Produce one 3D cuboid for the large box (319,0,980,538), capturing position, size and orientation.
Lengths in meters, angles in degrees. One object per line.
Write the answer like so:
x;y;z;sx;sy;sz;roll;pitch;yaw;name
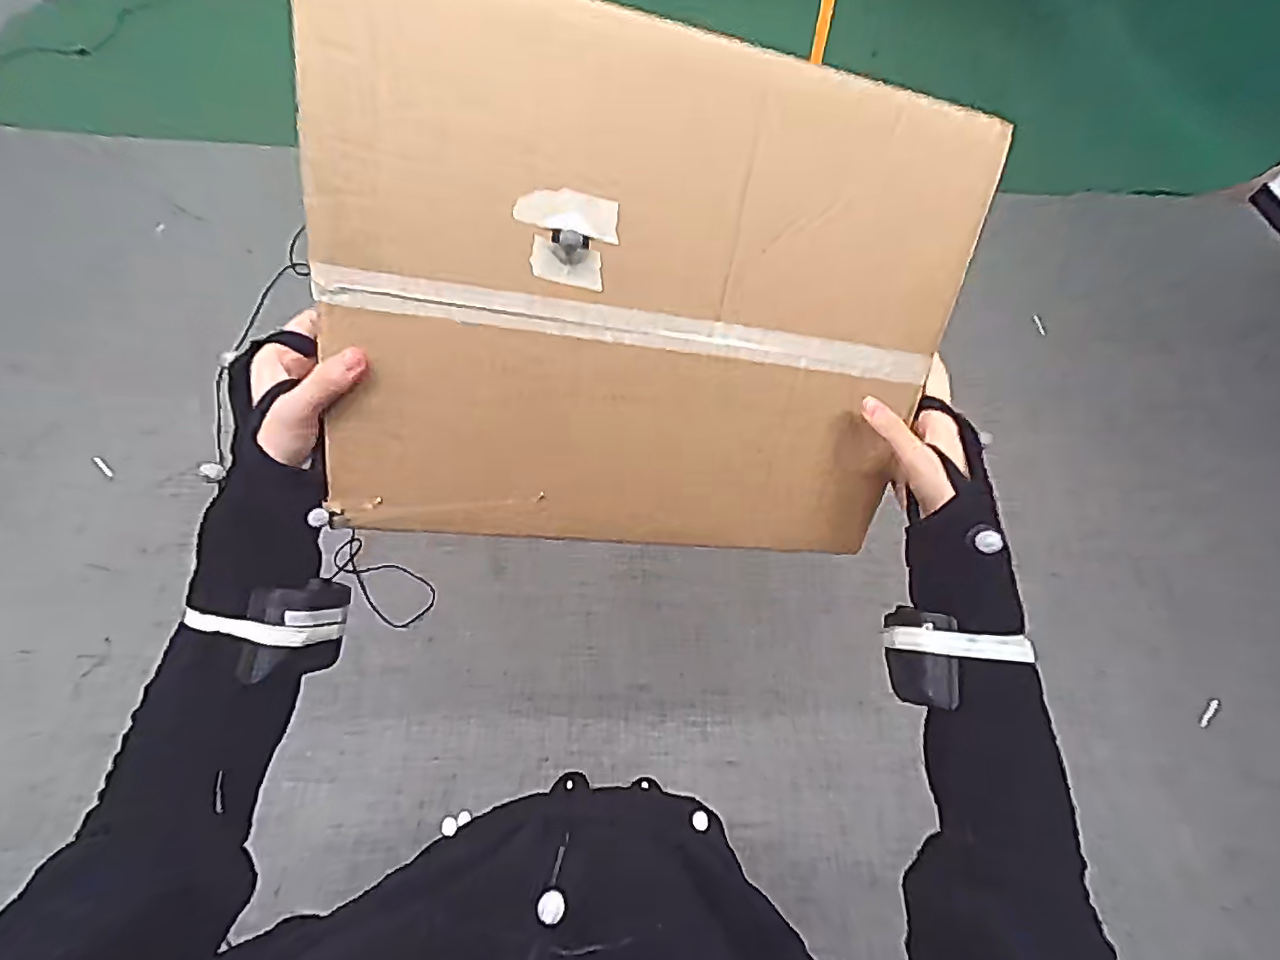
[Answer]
-0.013;-0.160;0.504;0.408;0.320;0.320;4;22;-12;large box
